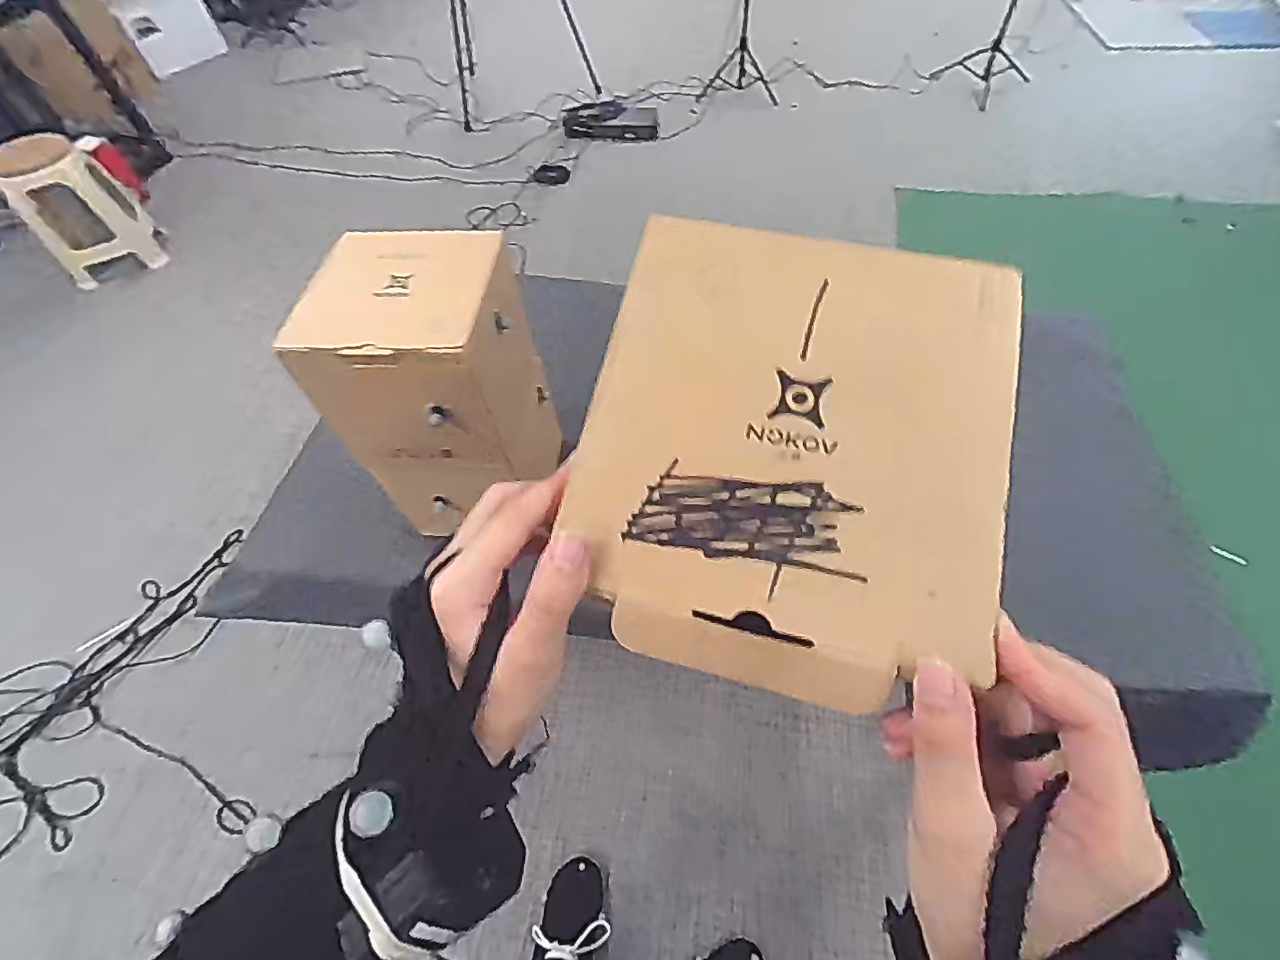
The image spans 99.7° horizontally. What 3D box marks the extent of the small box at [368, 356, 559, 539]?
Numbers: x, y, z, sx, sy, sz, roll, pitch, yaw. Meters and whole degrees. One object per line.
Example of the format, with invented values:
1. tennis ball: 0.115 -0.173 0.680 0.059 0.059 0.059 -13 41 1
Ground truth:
1. small box: -0.205 -0.038 0.691 0.168 0.176 0.179 2 55 4

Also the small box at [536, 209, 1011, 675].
1. small box: 0.064 -0.006 0.295 0.168 0.176 0.179 12 74 8

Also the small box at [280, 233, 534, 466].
1. small box: -0.213 -0.130 0.557 0.168 0.176 0.179 2 54 2
